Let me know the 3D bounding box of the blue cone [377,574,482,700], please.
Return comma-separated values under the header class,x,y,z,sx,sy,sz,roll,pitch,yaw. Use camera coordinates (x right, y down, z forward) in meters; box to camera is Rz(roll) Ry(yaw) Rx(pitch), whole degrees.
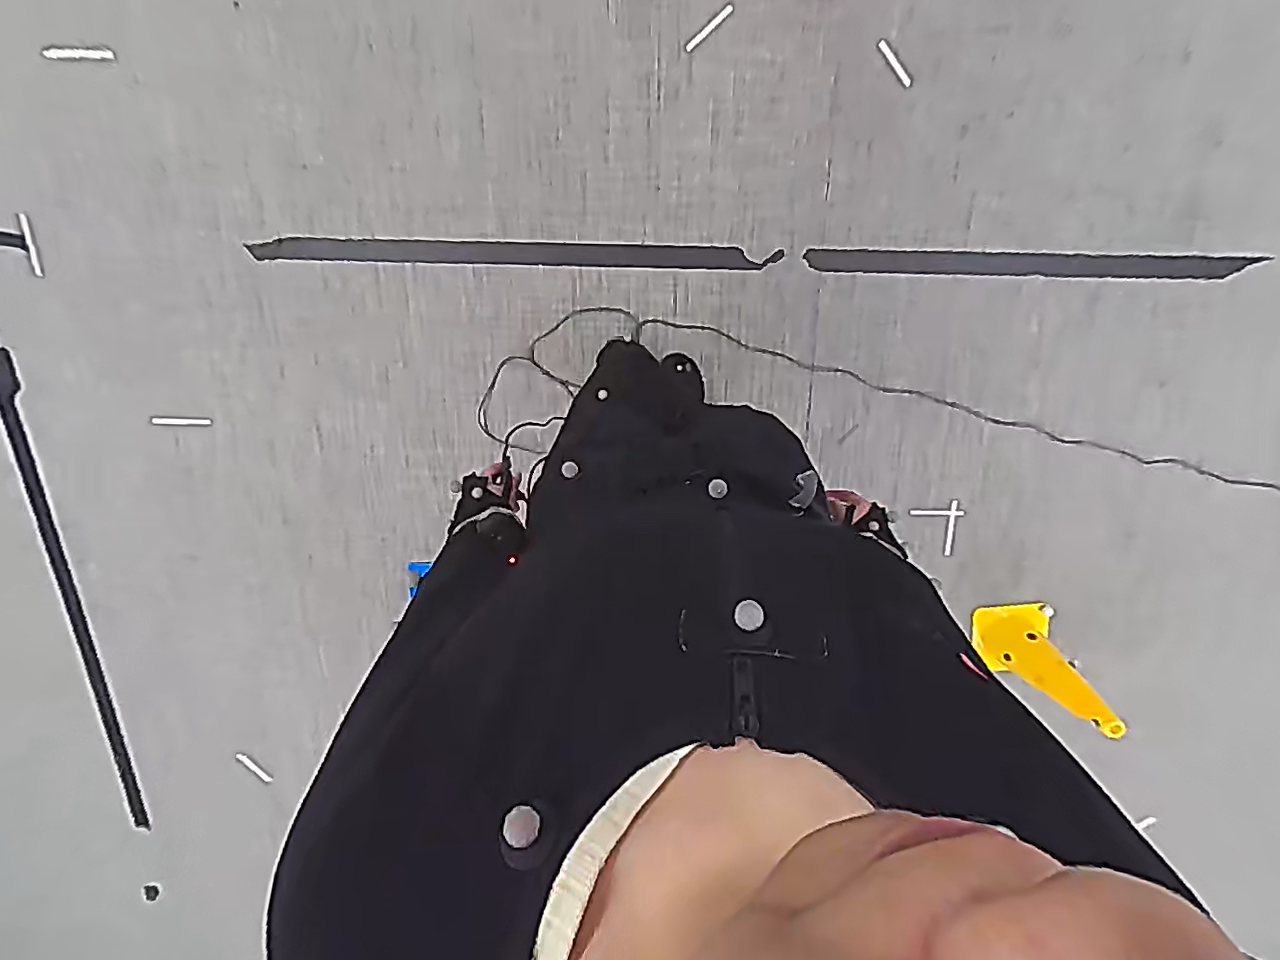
class,x,y,z,sx,sy,sz,roll,pitch,yaw
blue cone,-0.537,0.389,1.320,0.193,0.380,0.192,2,106,1
